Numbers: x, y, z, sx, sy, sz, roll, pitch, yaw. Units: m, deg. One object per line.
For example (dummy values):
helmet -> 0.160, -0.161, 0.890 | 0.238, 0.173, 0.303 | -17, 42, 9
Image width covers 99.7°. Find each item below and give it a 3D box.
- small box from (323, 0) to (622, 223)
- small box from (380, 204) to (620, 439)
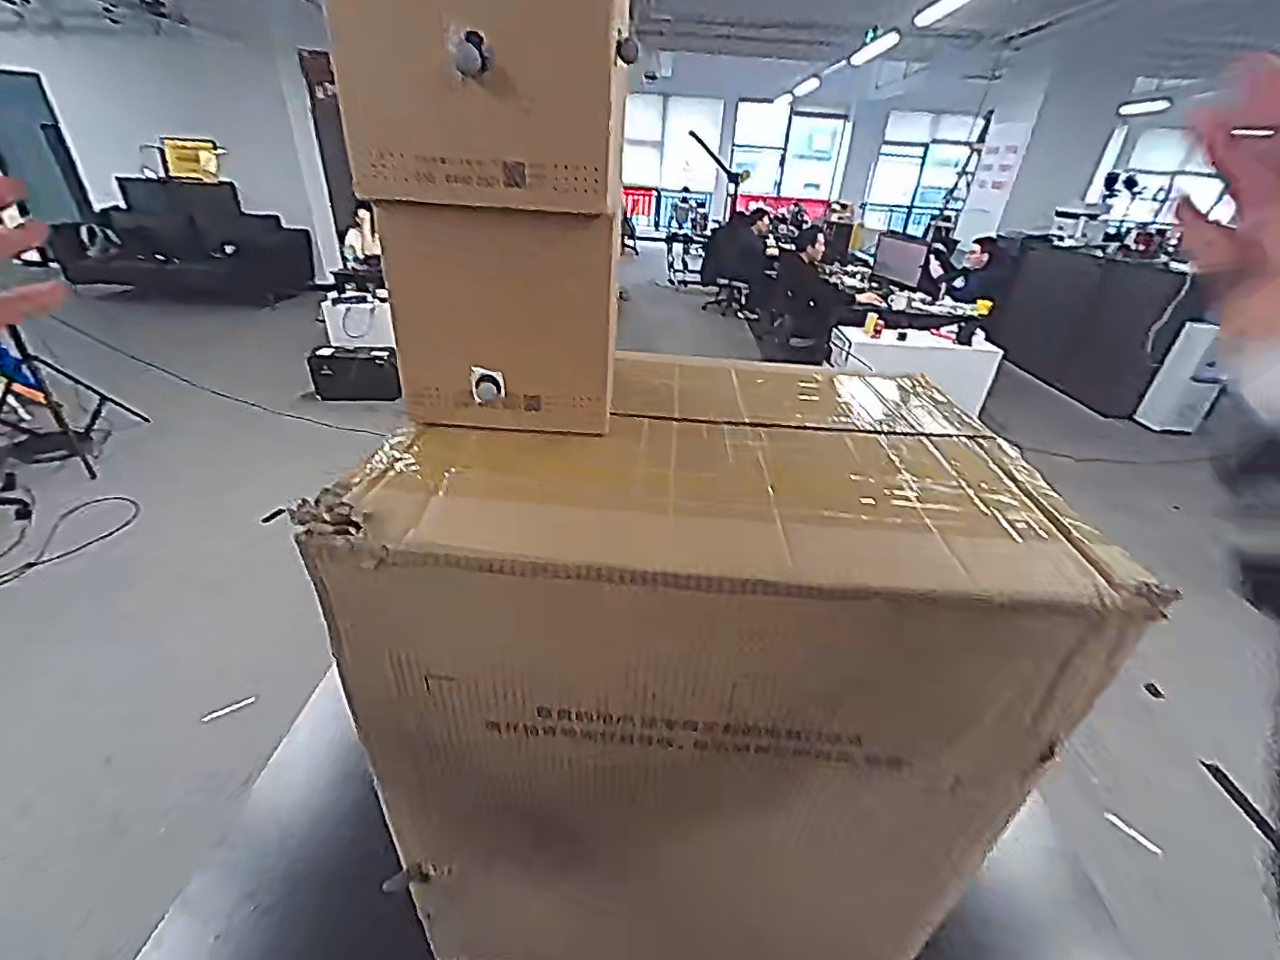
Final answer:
small box -> -0.098, -0.285, 0.388 | 0.168, 0.176, 0.179 | 3, 30, -1
small box -> -0.104, -0.150, 0.482 | 0.168, 0.176, 0.179 | 1, 30, -2
